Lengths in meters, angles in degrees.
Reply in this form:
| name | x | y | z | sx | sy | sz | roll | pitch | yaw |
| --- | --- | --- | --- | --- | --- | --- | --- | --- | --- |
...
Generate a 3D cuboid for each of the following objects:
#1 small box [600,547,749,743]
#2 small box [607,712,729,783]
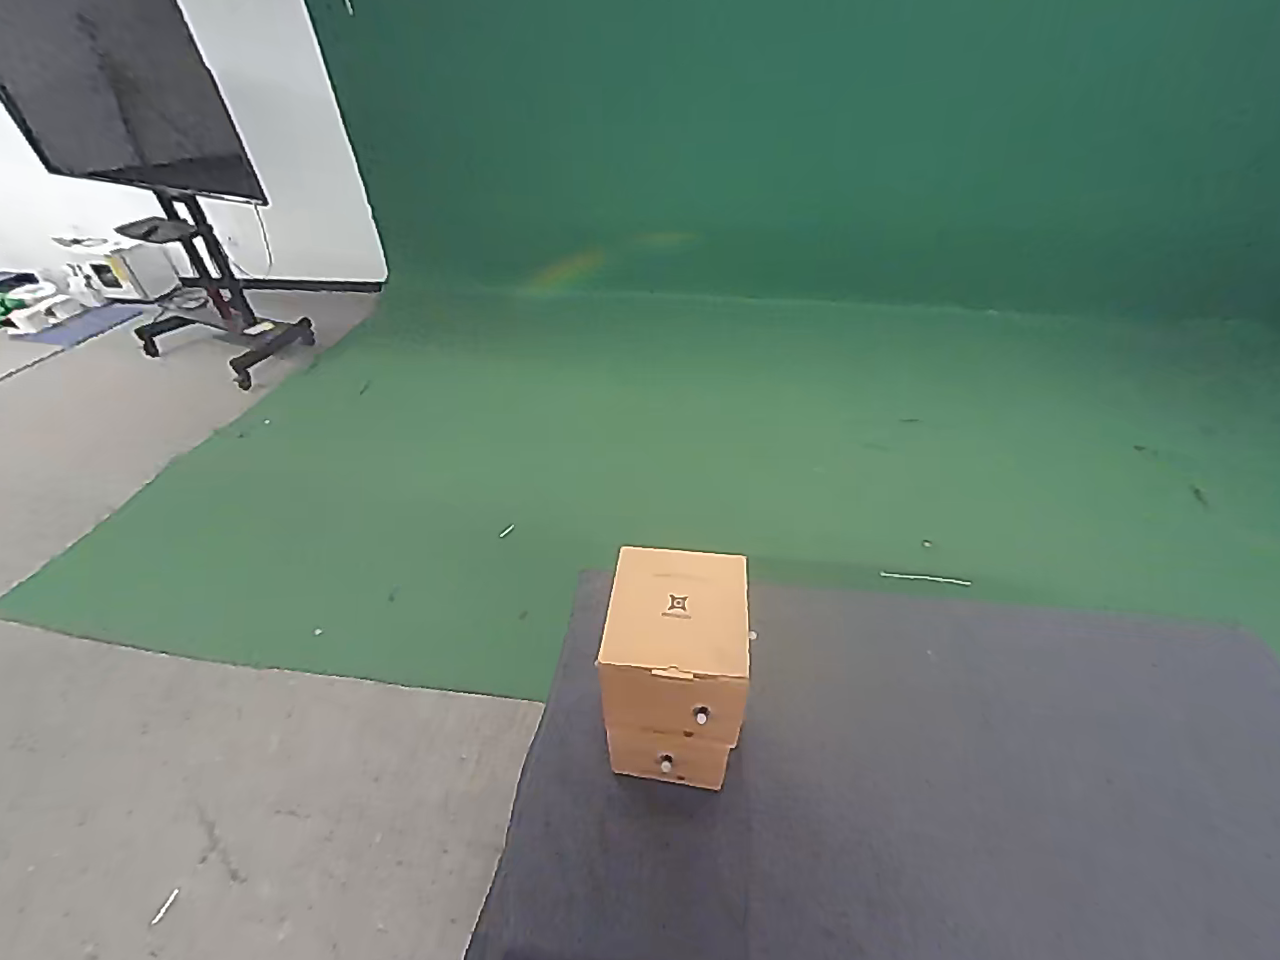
| name | x | y | z | sx | sy | sz | roll | pitch | yaw |
| --- | --- | --- | --- | --- | --- | --- | --- | --- | --- |
| small box | 0.048 | 0.211 | 0.694 | 0.168 | 0.176 | 0.179 | 4 | 40 | 5 |
| small box | 0.052 | 0.326 | 0.810 | 0.168 | 0.176 | 0.179 | 6 | 41 | 7 |
